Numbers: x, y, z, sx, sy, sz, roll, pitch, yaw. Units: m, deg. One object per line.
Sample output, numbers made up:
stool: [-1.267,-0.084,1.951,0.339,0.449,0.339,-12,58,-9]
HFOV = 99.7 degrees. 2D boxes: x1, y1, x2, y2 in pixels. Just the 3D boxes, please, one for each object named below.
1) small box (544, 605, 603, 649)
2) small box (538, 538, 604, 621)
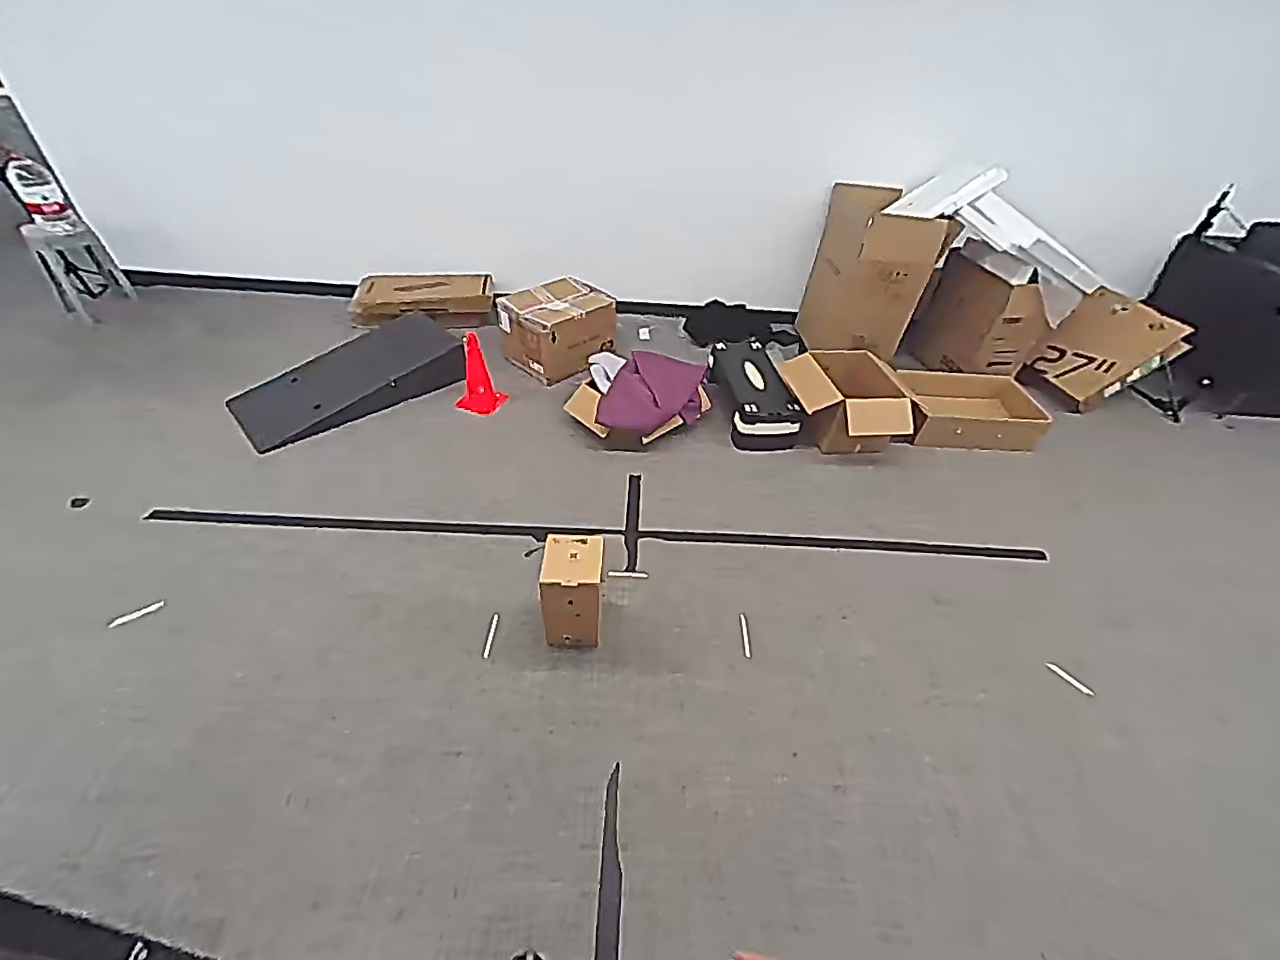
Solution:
small box: [-0.202,0.399,1.675,0.168,0.176,0.179,1,42,-2]
small box: [-0.190,0.287,1.553,0.168,0.176,0.179,2,42,-1]
